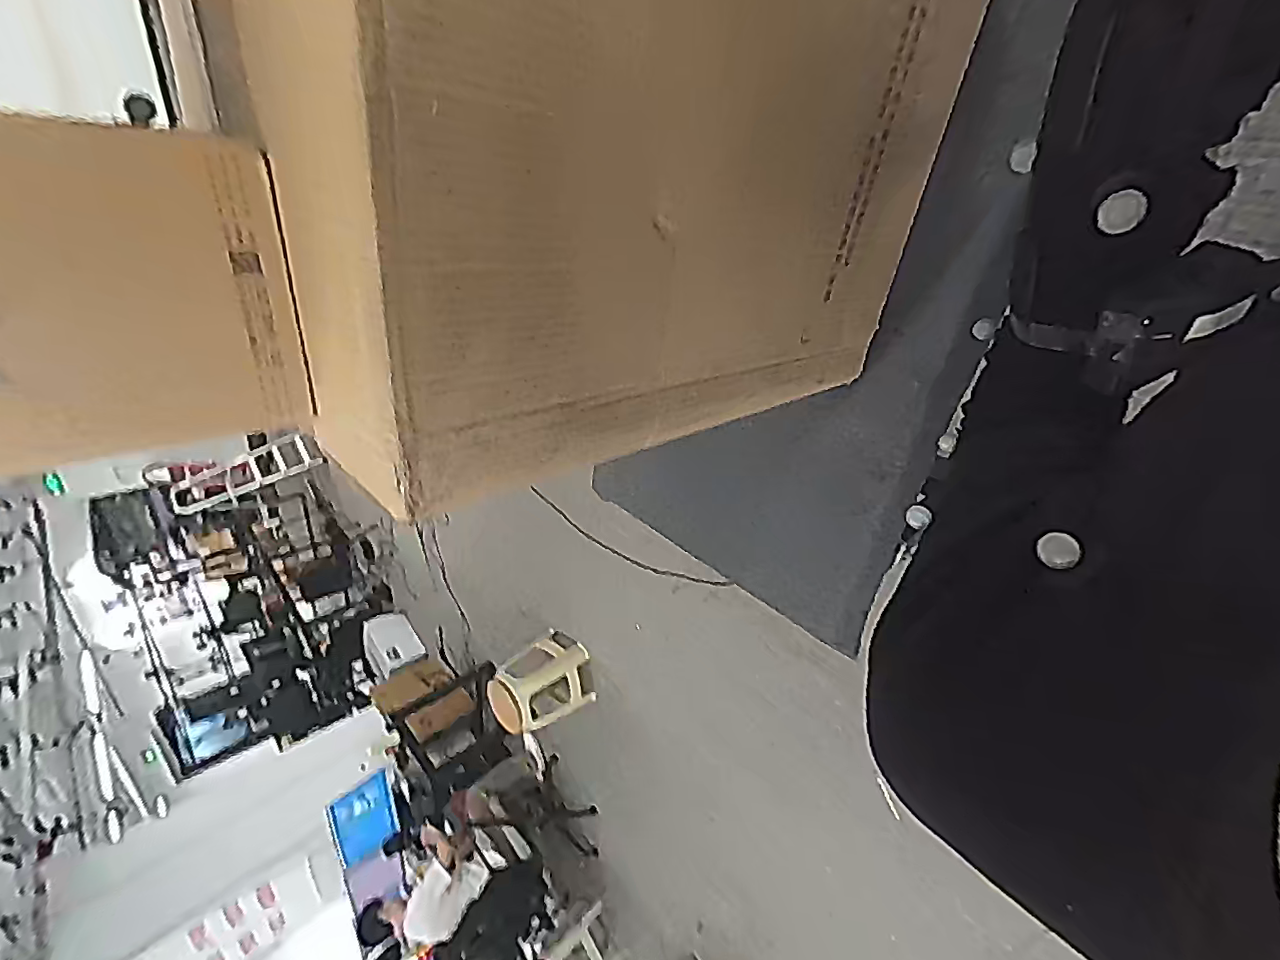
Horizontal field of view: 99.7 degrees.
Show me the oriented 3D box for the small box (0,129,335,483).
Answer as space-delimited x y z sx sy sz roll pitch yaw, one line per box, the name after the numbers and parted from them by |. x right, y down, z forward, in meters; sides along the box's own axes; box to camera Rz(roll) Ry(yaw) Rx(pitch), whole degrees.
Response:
-0.323 -0.123 0.349 0.179 0.176 0.168 31 128 37 | small box
